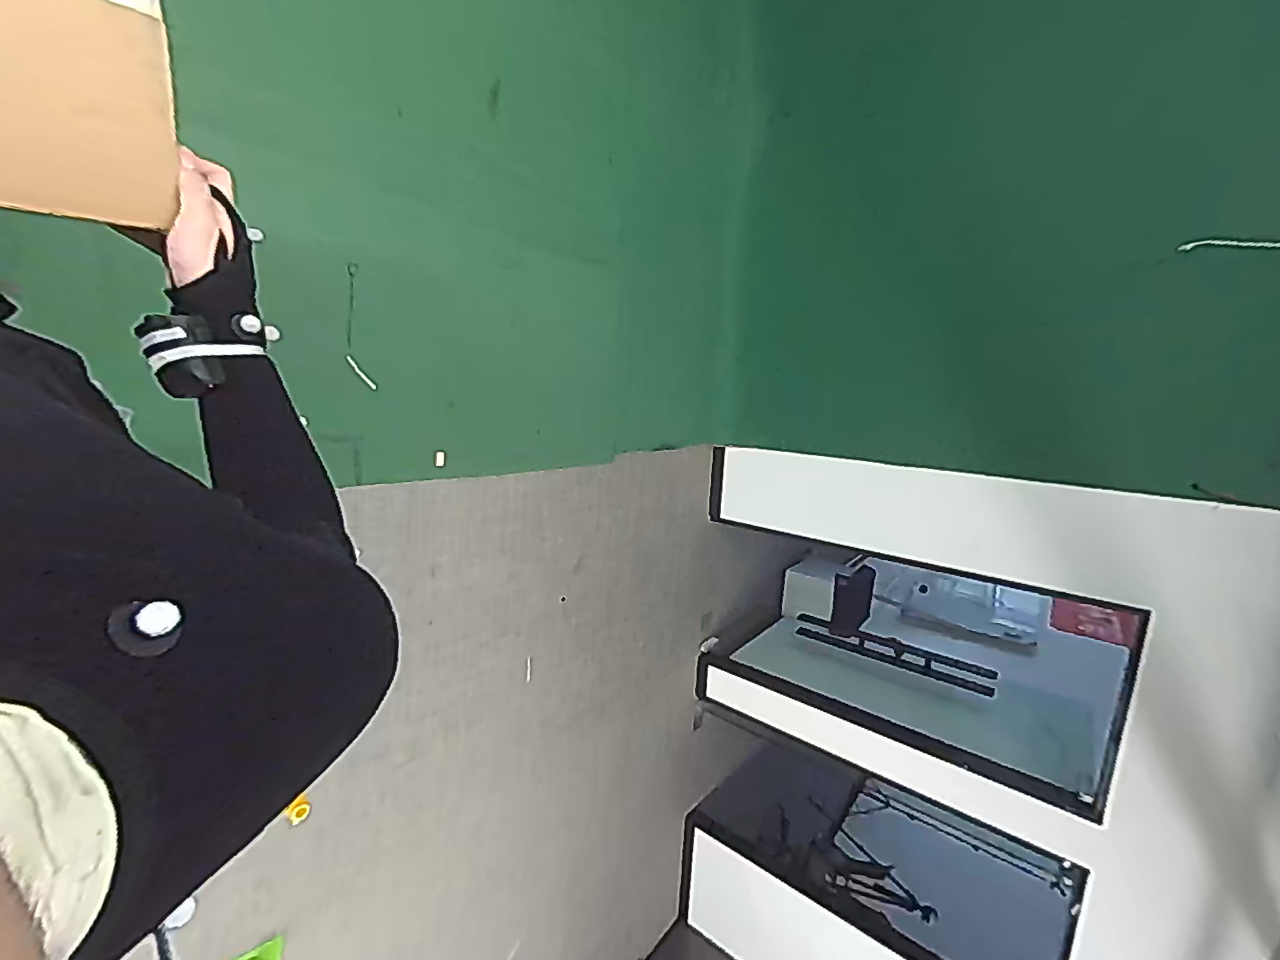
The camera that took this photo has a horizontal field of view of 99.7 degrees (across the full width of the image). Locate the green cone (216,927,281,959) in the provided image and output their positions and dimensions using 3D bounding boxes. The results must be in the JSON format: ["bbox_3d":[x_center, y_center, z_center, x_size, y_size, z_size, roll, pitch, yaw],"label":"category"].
[{"bbox_3d":[-1.056,1.503,1.514,0.200,0.368,0.202,1,97,-53],"label":"green cone"}]
